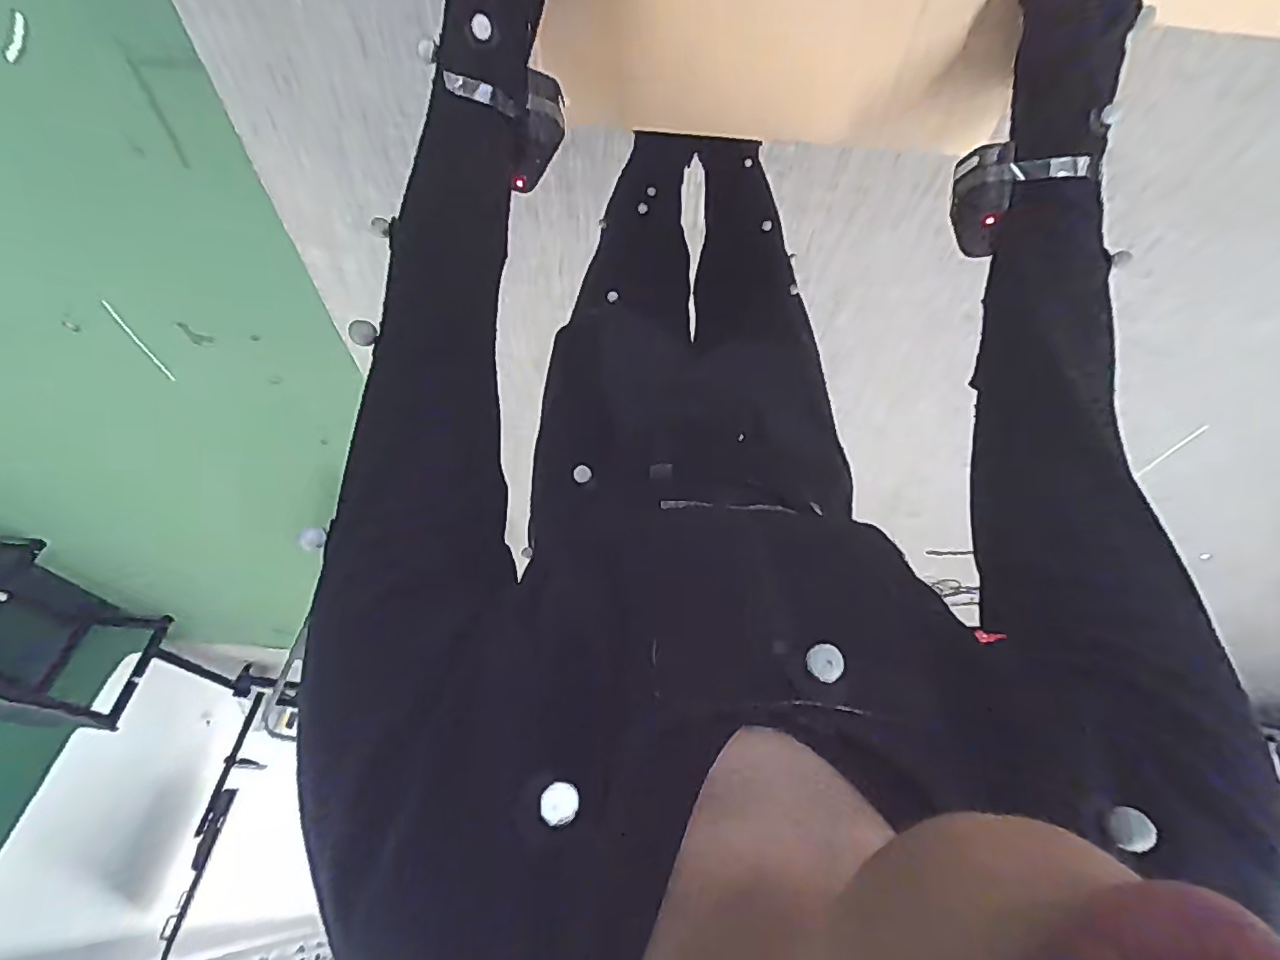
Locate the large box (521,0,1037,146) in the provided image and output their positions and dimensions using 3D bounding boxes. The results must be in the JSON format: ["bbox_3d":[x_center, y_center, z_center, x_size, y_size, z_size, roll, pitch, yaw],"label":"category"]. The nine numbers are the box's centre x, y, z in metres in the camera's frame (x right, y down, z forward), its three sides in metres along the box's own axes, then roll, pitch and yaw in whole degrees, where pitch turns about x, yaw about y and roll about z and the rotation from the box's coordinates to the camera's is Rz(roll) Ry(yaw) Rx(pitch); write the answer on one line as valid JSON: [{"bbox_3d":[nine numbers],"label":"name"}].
[{"bbox_3d":[0.119,-0.529,0.451,0.408,0.320,0.320,6,146,1],"label":"large box"}]
